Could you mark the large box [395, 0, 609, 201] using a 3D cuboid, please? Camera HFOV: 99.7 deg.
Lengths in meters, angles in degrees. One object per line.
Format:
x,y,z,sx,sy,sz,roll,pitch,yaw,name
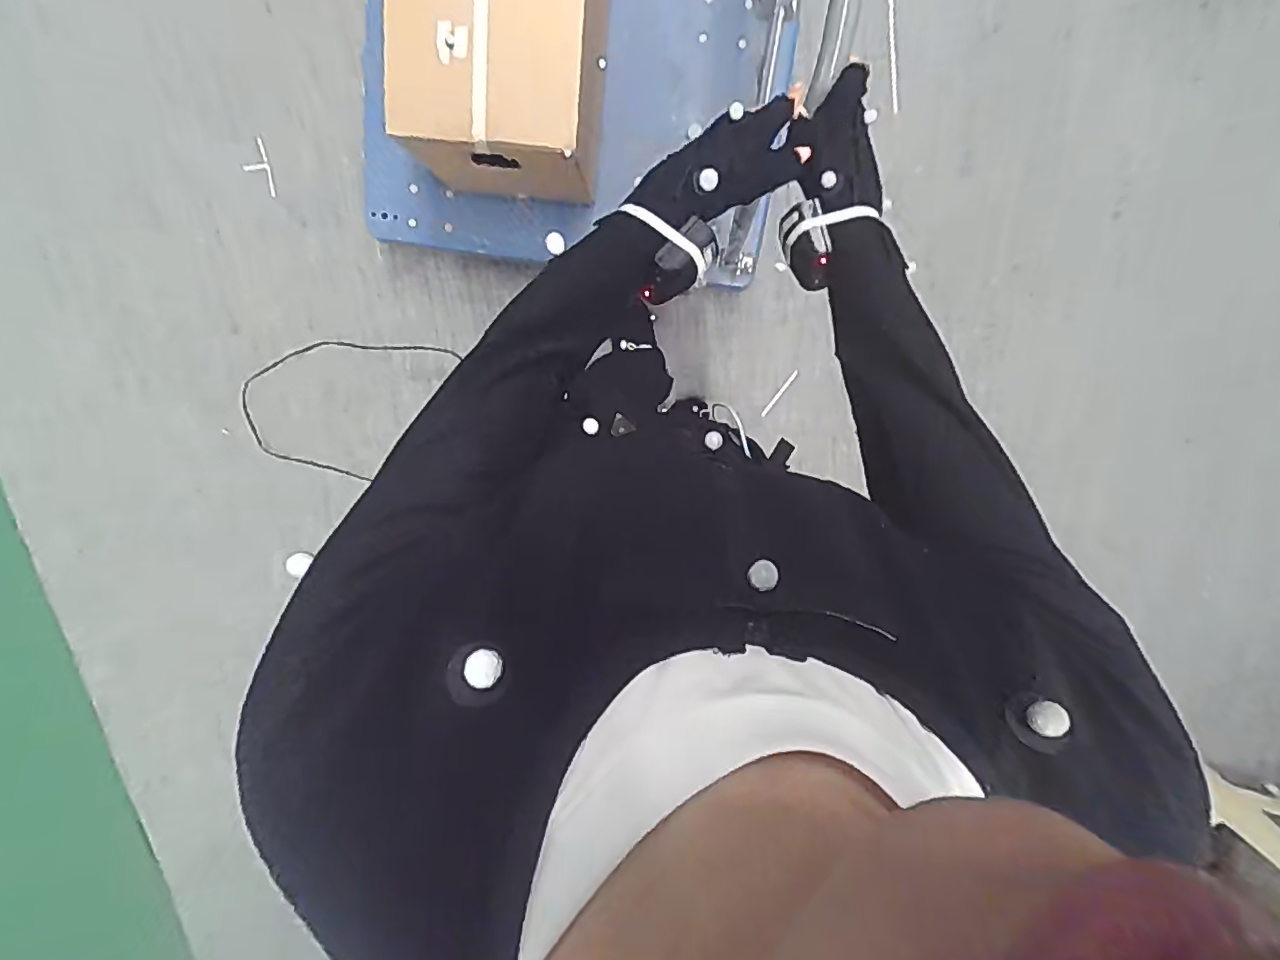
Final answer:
-0.226,-0.776,0.980,0.320,0.320,0.408,6,103,0,large box
